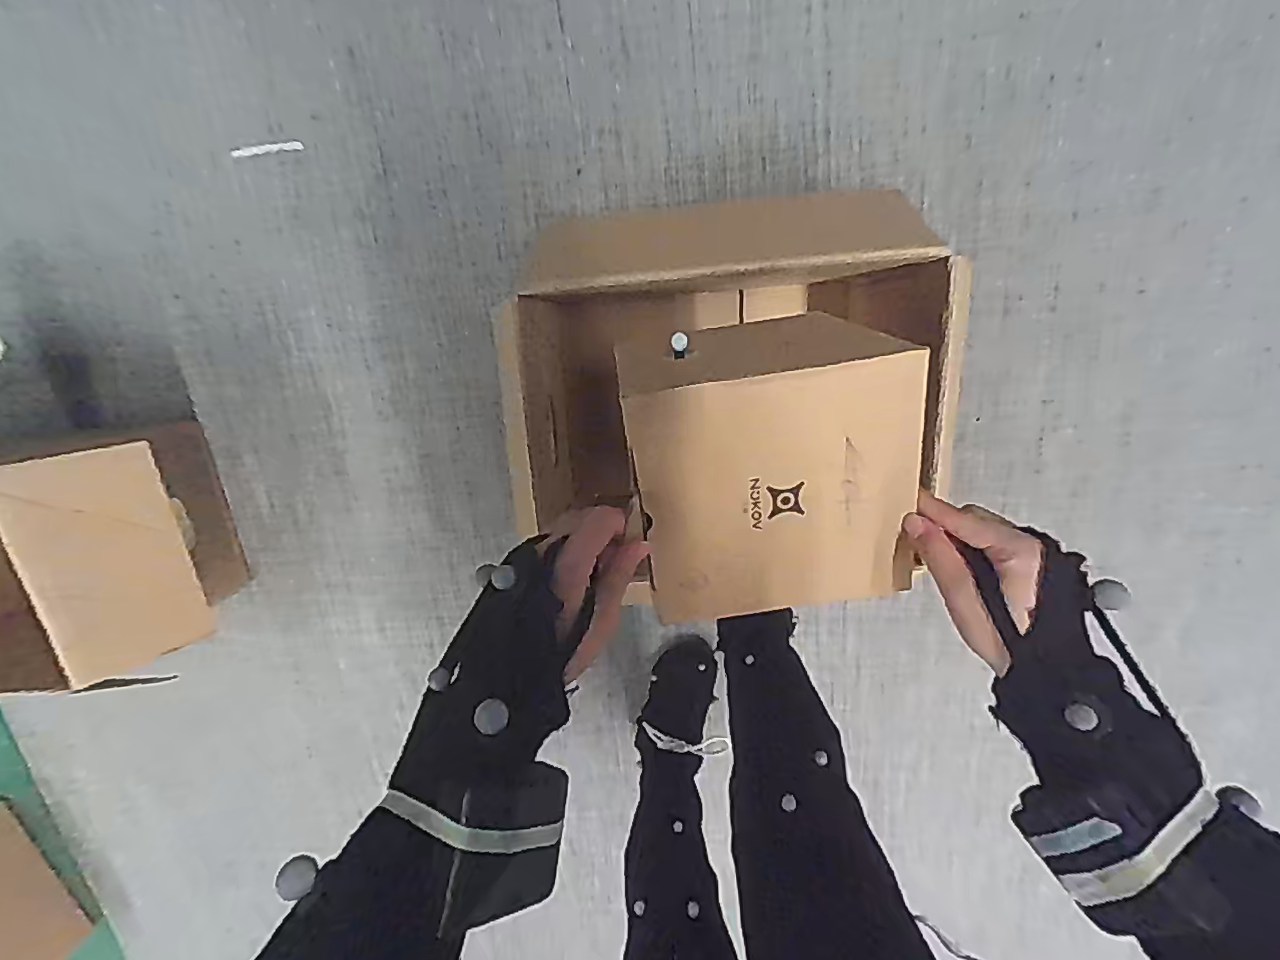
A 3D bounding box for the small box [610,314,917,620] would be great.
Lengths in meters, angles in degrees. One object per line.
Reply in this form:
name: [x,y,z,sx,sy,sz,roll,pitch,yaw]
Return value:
small box: [0.074,-0.023,0.406,0.179,0.176,0.168,-9,114,-1]
